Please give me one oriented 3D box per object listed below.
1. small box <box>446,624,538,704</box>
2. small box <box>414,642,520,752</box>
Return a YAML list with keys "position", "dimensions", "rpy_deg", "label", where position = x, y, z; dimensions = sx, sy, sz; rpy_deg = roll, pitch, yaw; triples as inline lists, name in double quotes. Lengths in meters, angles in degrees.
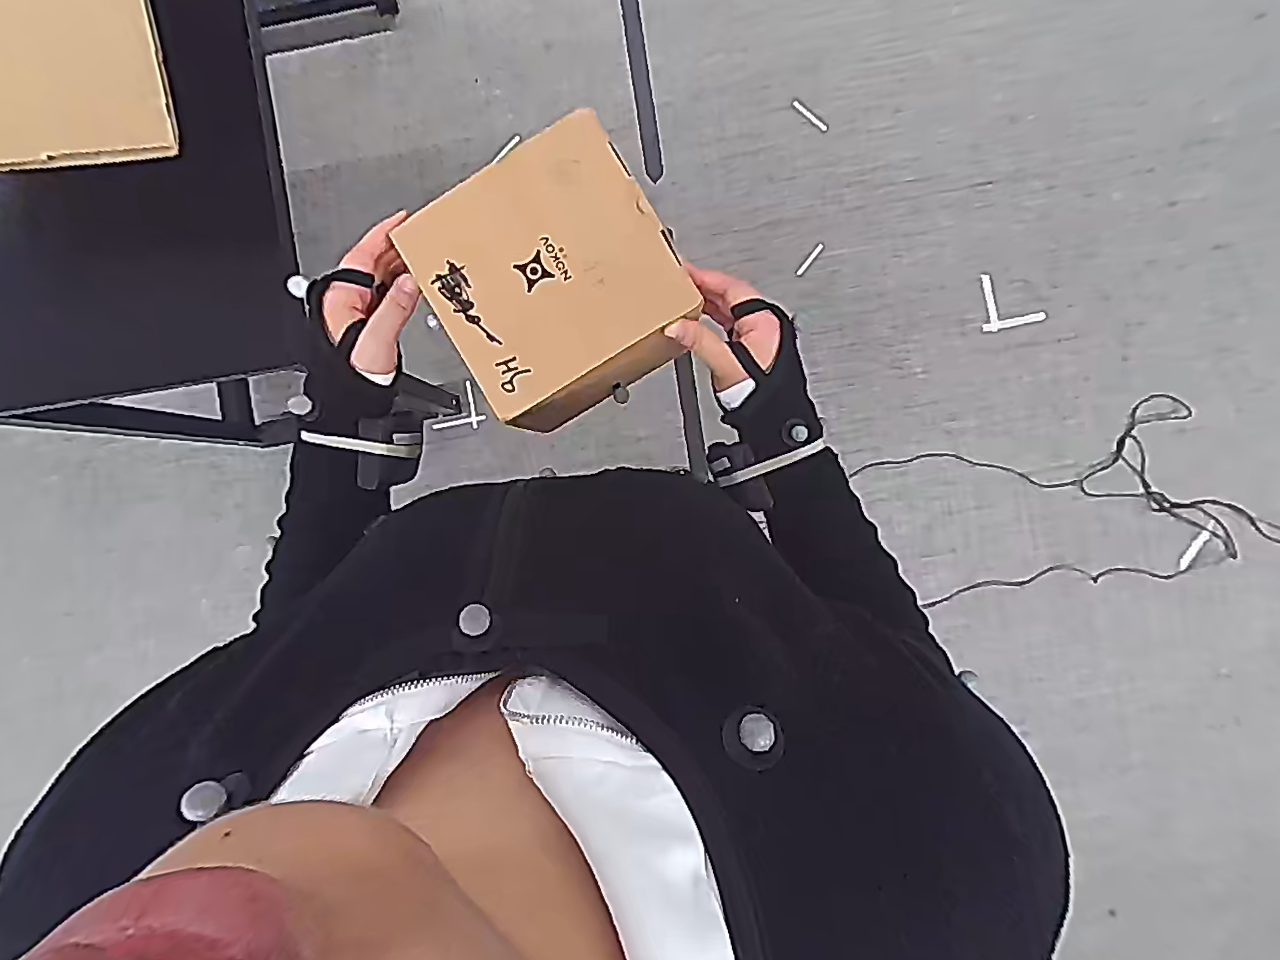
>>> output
- position: [-0.384, 0.496, 1.431]
  dimensions: [0.179, 0.176, 0.168]
  rpy_deg: [-13, 90, 0]
  label: "small box"
- position: [-0.393, 0.499, 1.269]
  dimensions: [0.179, 0.176, 0.168]
  rpy_deg: [-16, 89, 2]
  label: "small box"
